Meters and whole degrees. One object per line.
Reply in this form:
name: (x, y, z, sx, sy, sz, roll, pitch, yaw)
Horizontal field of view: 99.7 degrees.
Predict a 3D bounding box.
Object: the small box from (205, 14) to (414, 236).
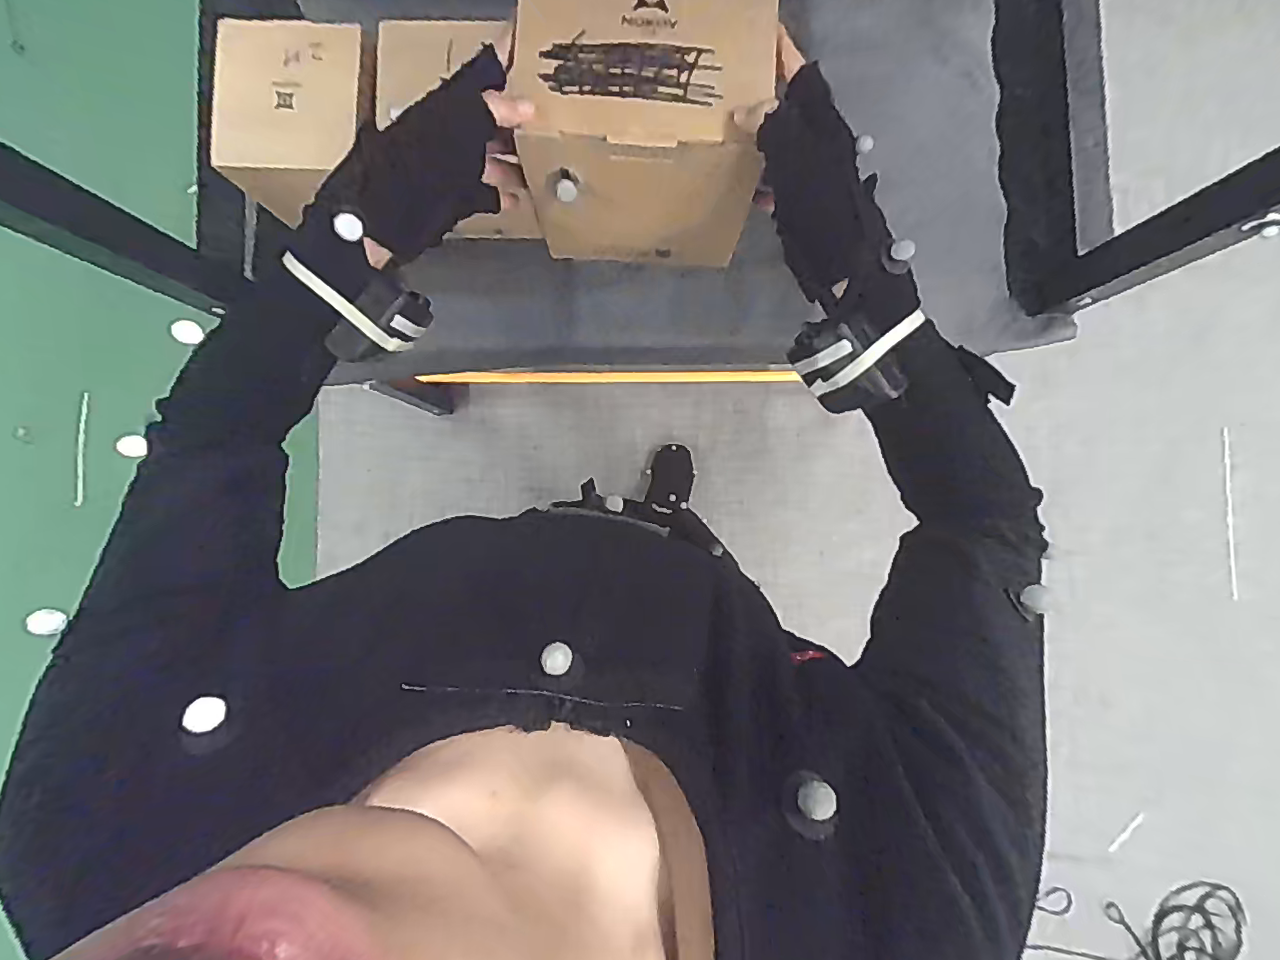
small box: (-0.402, -0.432, 0.686, 0.168, 0.176, 0.179, 2, 88, -1)
